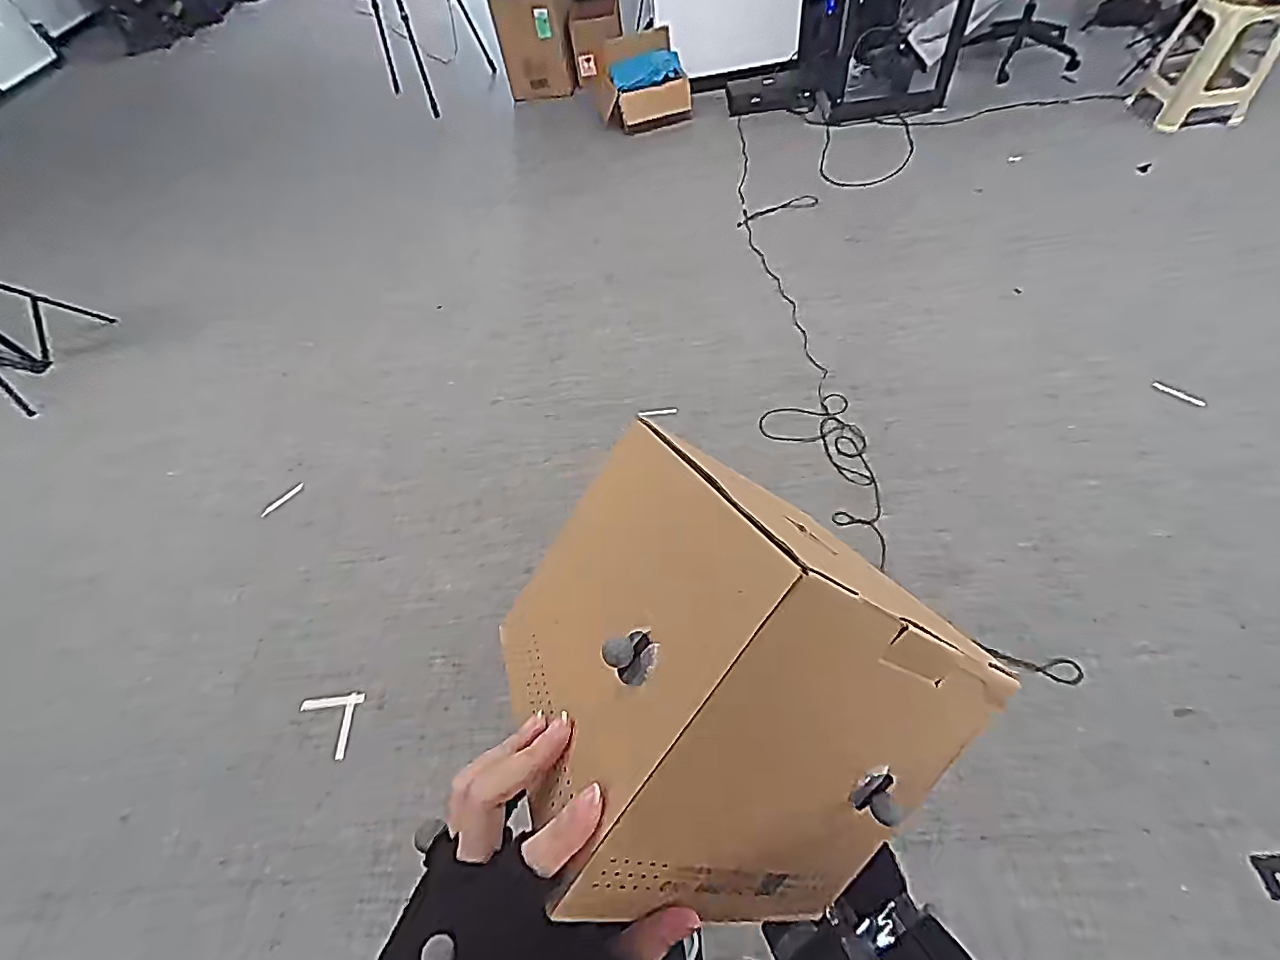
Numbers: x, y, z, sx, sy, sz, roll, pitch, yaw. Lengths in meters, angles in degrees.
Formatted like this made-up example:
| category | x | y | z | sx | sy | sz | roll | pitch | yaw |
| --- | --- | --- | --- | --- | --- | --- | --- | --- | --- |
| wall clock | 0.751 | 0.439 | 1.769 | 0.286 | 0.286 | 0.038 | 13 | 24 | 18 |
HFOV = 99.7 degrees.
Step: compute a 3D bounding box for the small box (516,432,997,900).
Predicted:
| category | x | y | z | sx | sy | sz | roll | pitch | yaw |
| --- | --- | --- | --- | --- | --- | --- | --- | --- | --- |
| small box | 0.045 | 0.103 | 0.317 | 0.176 | 0.168 | 0.179 | -57 | 28 | 10 |
